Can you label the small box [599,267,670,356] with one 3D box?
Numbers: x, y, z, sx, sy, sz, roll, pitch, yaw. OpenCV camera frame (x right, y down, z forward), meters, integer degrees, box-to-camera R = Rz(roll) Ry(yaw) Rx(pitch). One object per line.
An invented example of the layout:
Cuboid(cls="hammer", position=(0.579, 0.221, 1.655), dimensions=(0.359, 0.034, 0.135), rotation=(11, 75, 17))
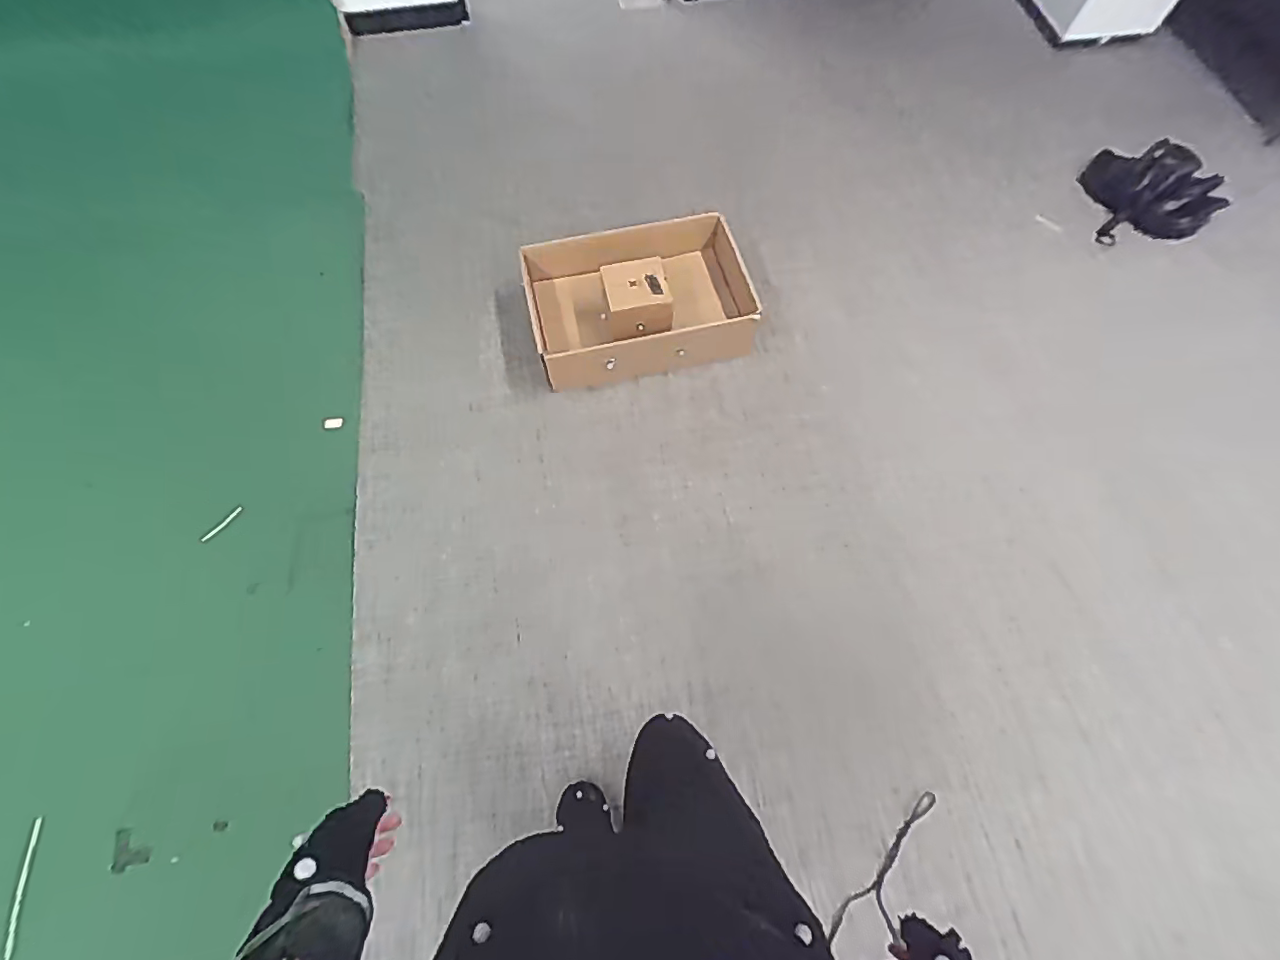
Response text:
Cuboid(cls="small box", position=(-0.018, -0.481, 1.562), dimensions=(0.179, 0.176, 0.168), rotation=(-11, 66, -4))
